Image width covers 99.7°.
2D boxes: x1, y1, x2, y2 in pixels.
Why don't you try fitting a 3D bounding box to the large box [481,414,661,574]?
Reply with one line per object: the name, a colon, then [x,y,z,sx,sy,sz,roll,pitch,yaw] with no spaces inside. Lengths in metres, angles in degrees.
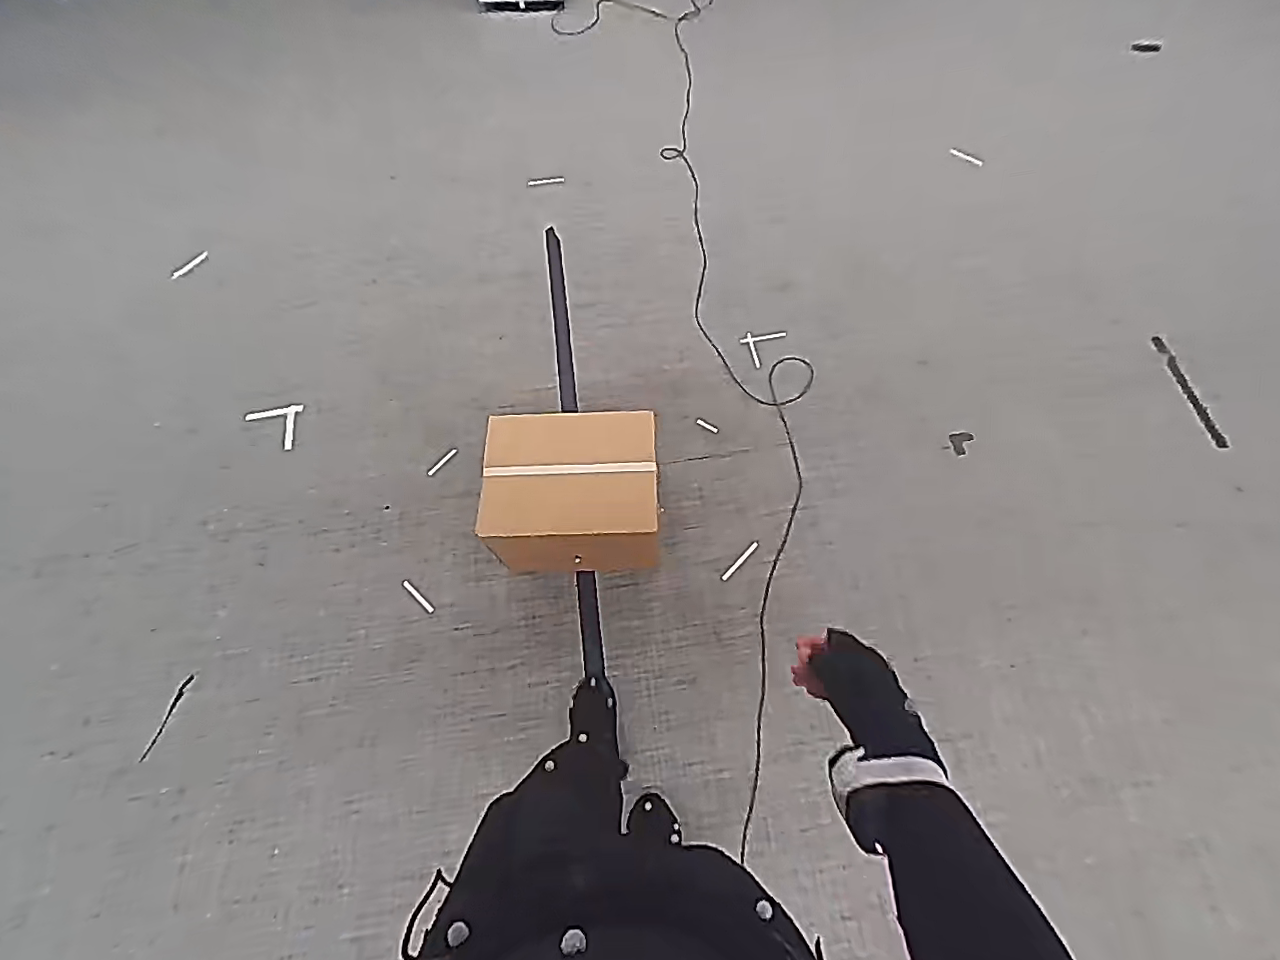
large box: [-0.155,0.048,1.380,0.408,0.320,0.320,-2,66,1]
